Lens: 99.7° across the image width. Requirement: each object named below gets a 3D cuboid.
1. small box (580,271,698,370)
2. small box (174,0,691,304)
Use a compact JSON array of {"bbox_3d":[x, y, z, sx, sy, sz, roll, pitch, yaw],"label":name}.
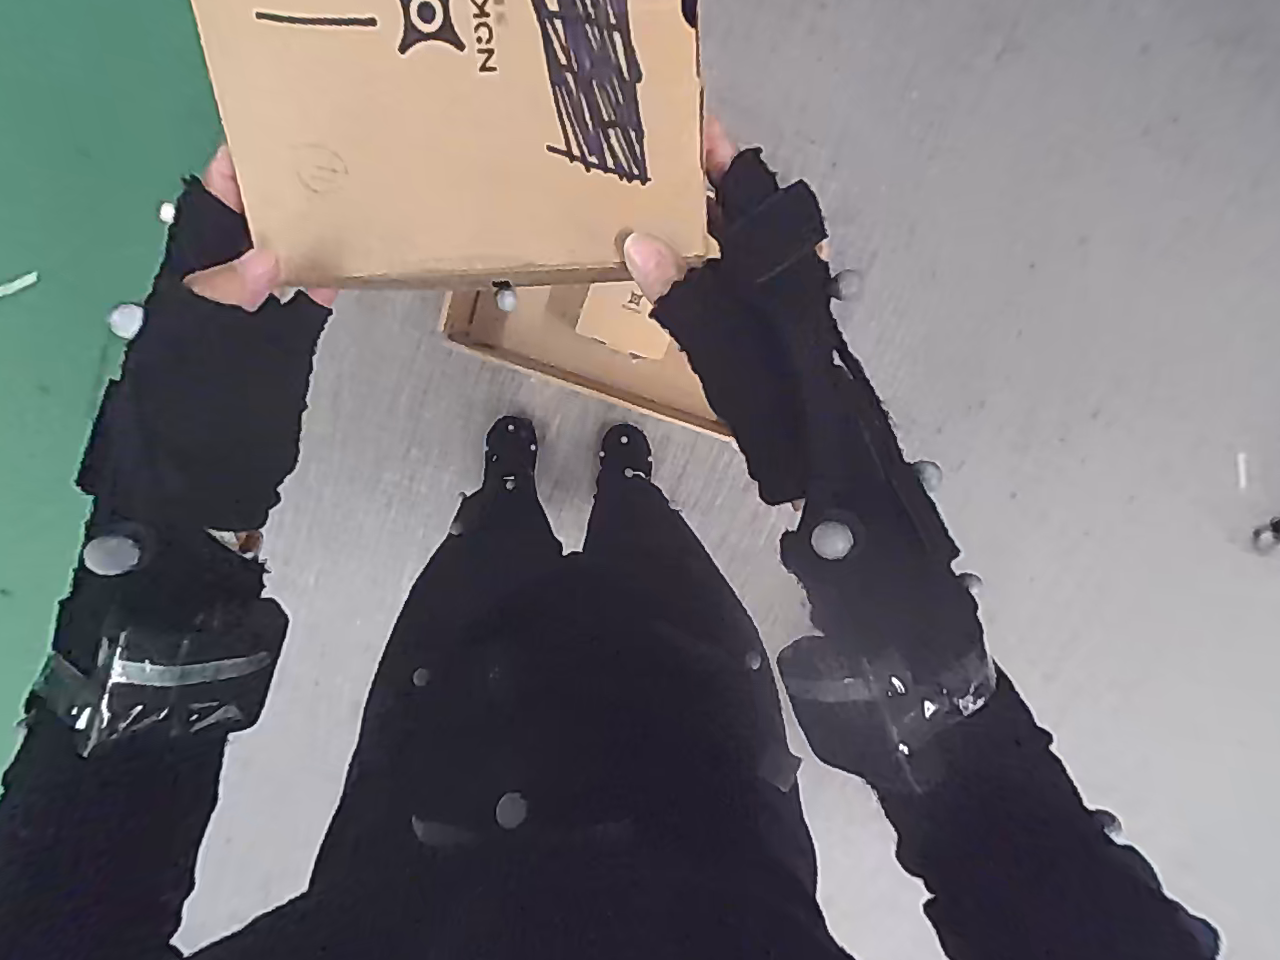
[{"bbox_3d":[-0.002,-0.321,1.027,0.168,0.176,0.179,20,101,-5],"label":"small box"},{"bbox_3d":[-0.072,-0.177,0.264,0.179,0.176,0.168,-3,108,1],"label":"small box"}]
